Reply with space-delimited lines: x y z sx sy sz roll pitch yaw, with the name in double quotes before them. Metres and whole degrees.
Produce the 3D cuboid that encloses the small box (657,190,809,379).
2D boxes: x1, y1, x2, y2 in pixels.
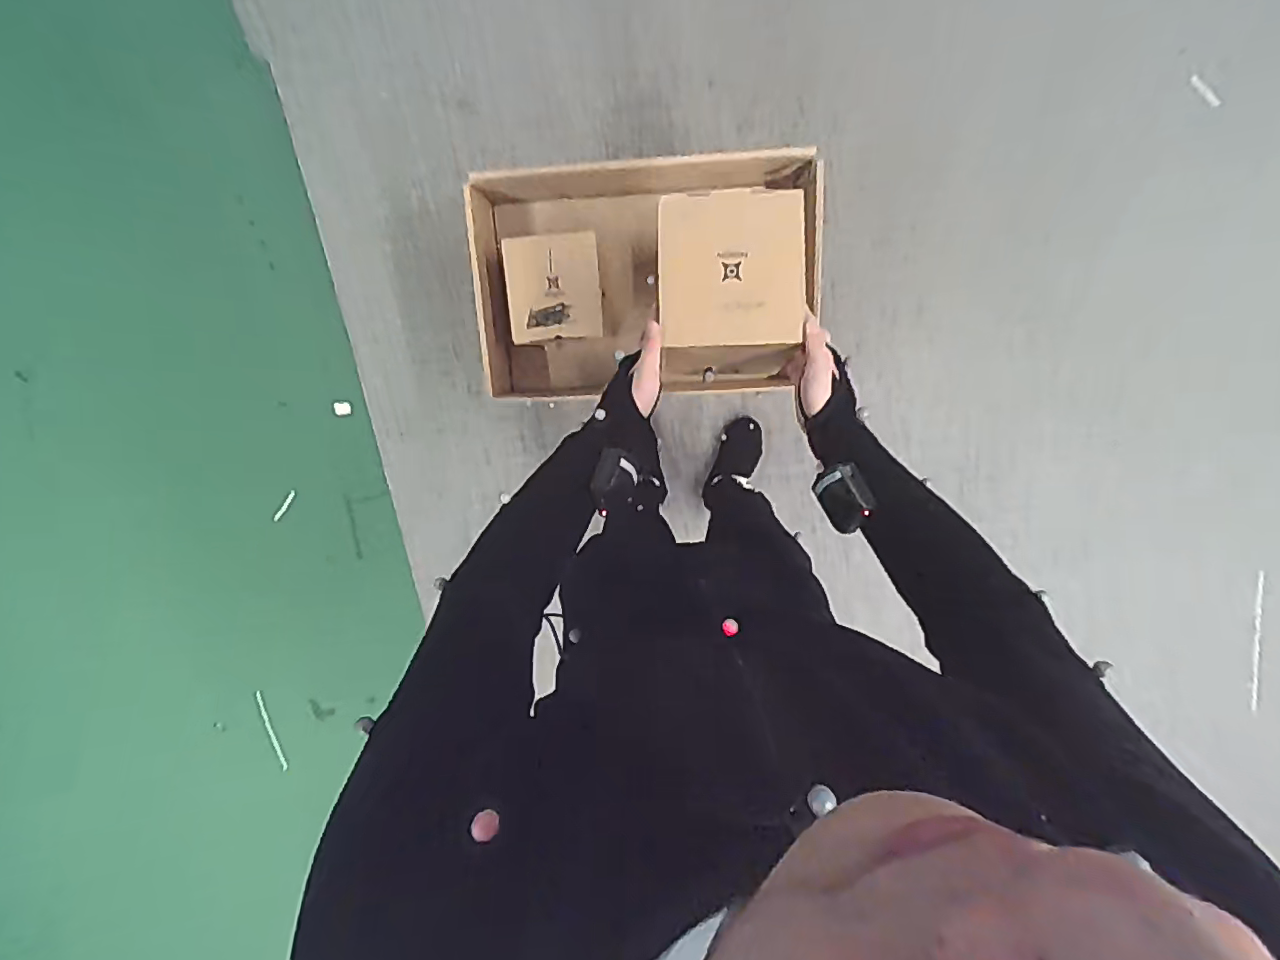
"small box" 0.106 -0.231 0.675 0.168 0.176 0.179 0 89 2
